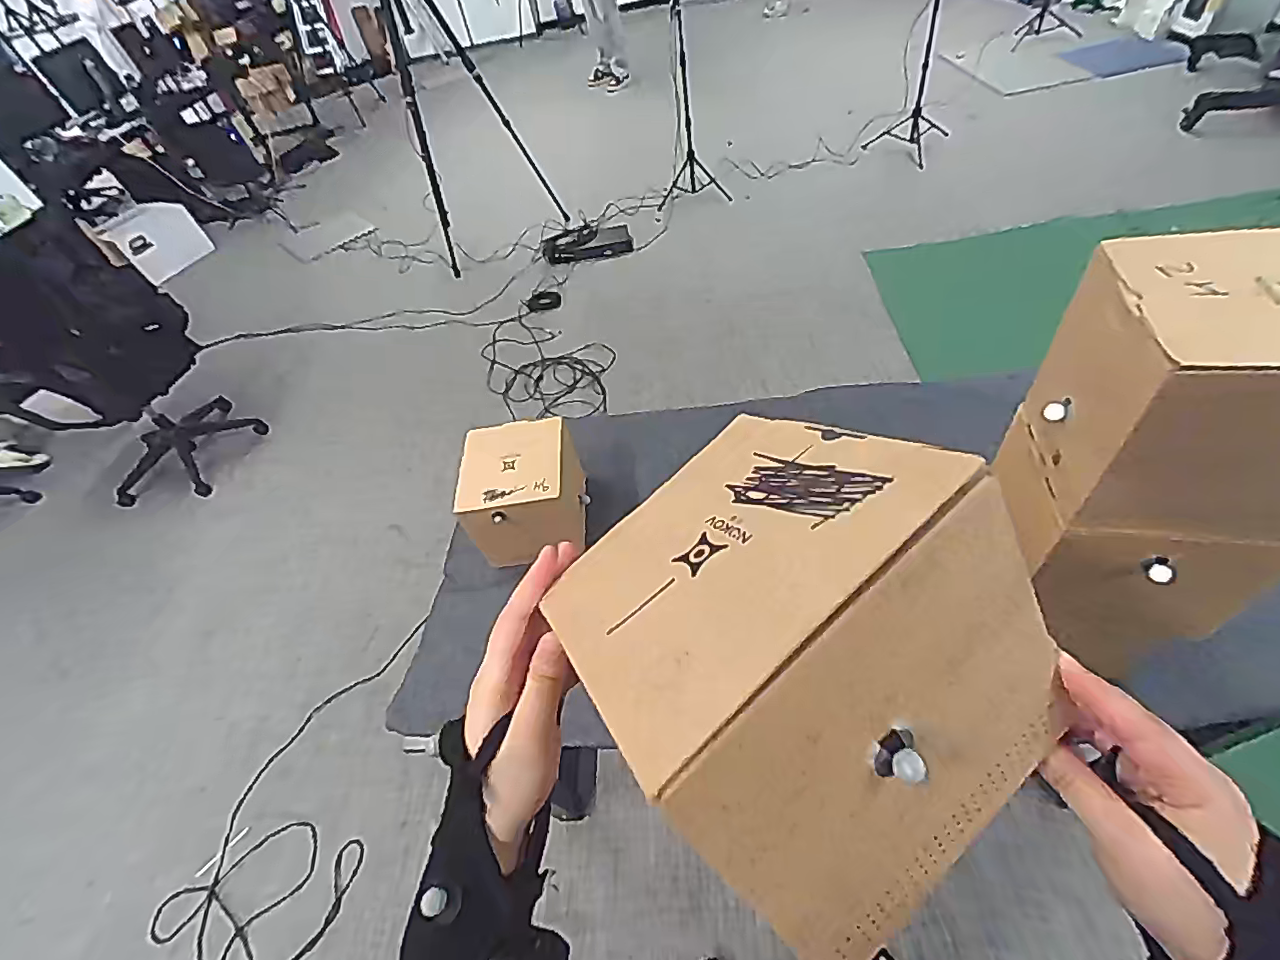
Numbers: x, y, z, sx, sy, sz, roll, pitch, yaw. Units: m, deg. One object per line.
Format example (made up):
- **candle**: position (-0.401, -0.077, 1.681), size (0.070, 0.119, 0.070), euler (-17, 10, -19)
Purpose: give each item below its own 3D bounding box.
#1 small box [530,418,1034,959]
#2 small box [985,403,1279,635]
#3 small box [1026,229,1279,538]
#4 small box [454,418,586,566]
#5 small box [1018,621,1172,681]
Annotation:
- **small box**: position (0.073, 0.094, 0.293), size (0.179, 0.176, 0.168), euler (-40, 25, -9)
- **small box**: position (0.466, 0.039, 0.539), size (0.179, 0.176, 0.168), euler (2, 50, 16)
- **small box**: position (0.440, -0.070, 0.418), size (0.179, 0.176, 0.168), euler (3, 50, 17)
- **small box**: position (-0.191, 0.022, 0.915), size (0.168, 0.176, 0.179), euler (-8, 50, 5)
- **small box**: position (0.493, 0.133, 0.670), size (0.168, 0.176, 0.179), euler (-6, 49, 9)
